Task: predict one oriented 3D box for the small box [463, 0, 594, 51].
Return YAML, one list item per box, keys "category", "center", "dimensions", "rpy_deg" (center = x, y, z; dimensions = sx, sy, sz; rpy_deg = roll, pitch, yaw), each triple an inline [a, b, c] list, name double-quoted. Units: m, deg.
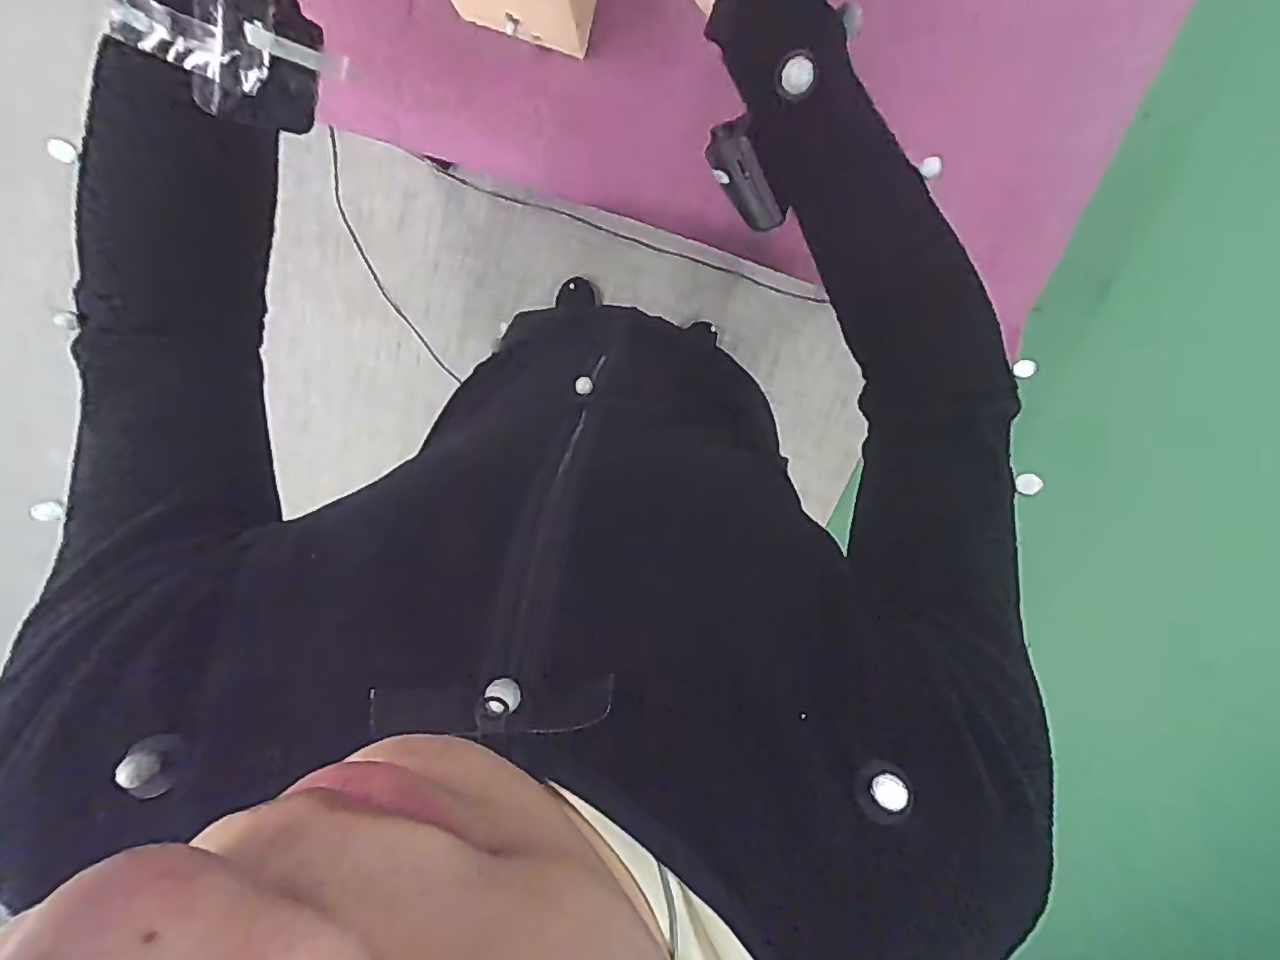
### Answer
- category: "small box"
  center: [-0.129, -0.631, 0.597]
  dimensions: [0.168, 0.176, 0.179]
  rpy_deg: [16, 109, -5]
